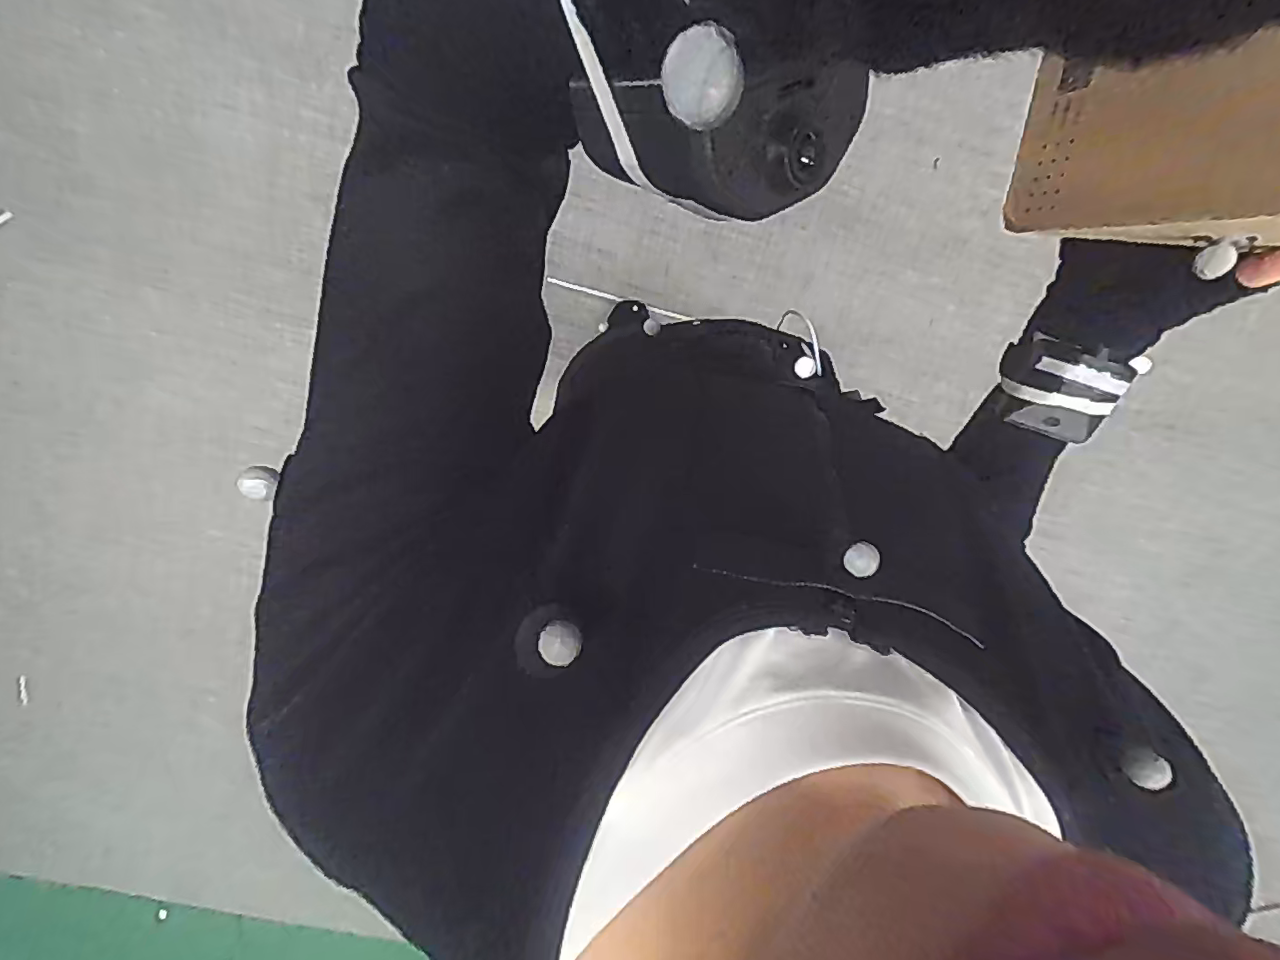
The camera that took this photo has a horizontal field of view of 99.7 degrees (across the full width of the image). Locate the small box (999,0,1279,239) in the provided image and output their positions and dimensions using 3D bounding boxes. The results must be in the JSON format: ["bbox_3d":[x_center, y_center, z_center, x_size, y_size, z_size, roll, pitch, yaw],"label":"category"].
[{"bbox_3d":[0.279,-0.175,0.182,0.179,0.176,0.168,-2,114,-14],"label":"small box"}]
